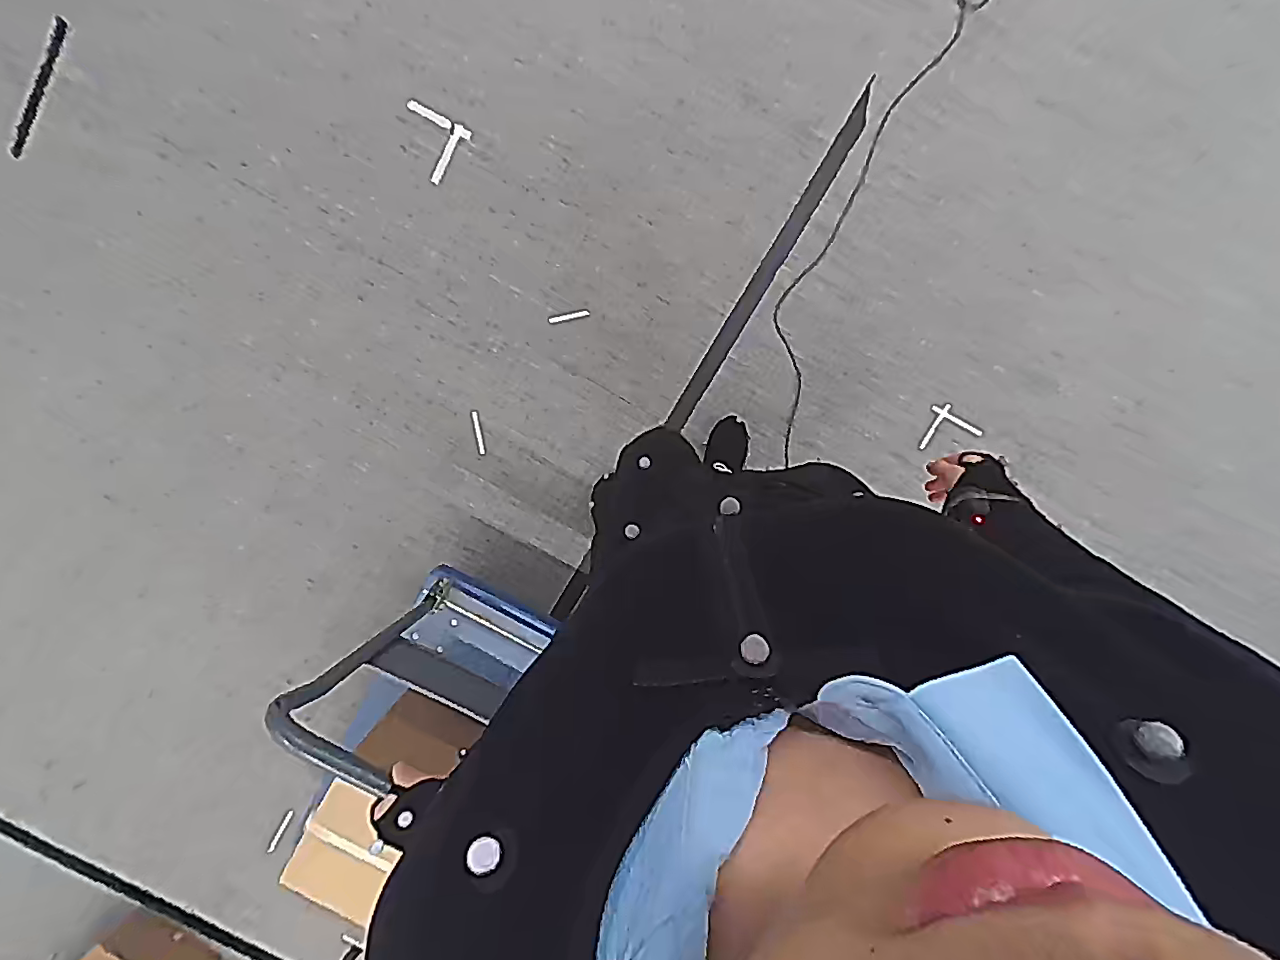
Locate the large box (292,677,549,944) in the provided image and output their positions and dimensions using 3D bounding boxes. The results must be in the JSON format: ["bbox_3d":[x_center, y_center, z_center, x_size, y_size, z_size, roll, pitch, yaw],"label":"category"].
[{"bbox_3d":[-0.478,0.738,1.260,0.408,0.320,0.320,30,97,-4],"label":"large box"}]
